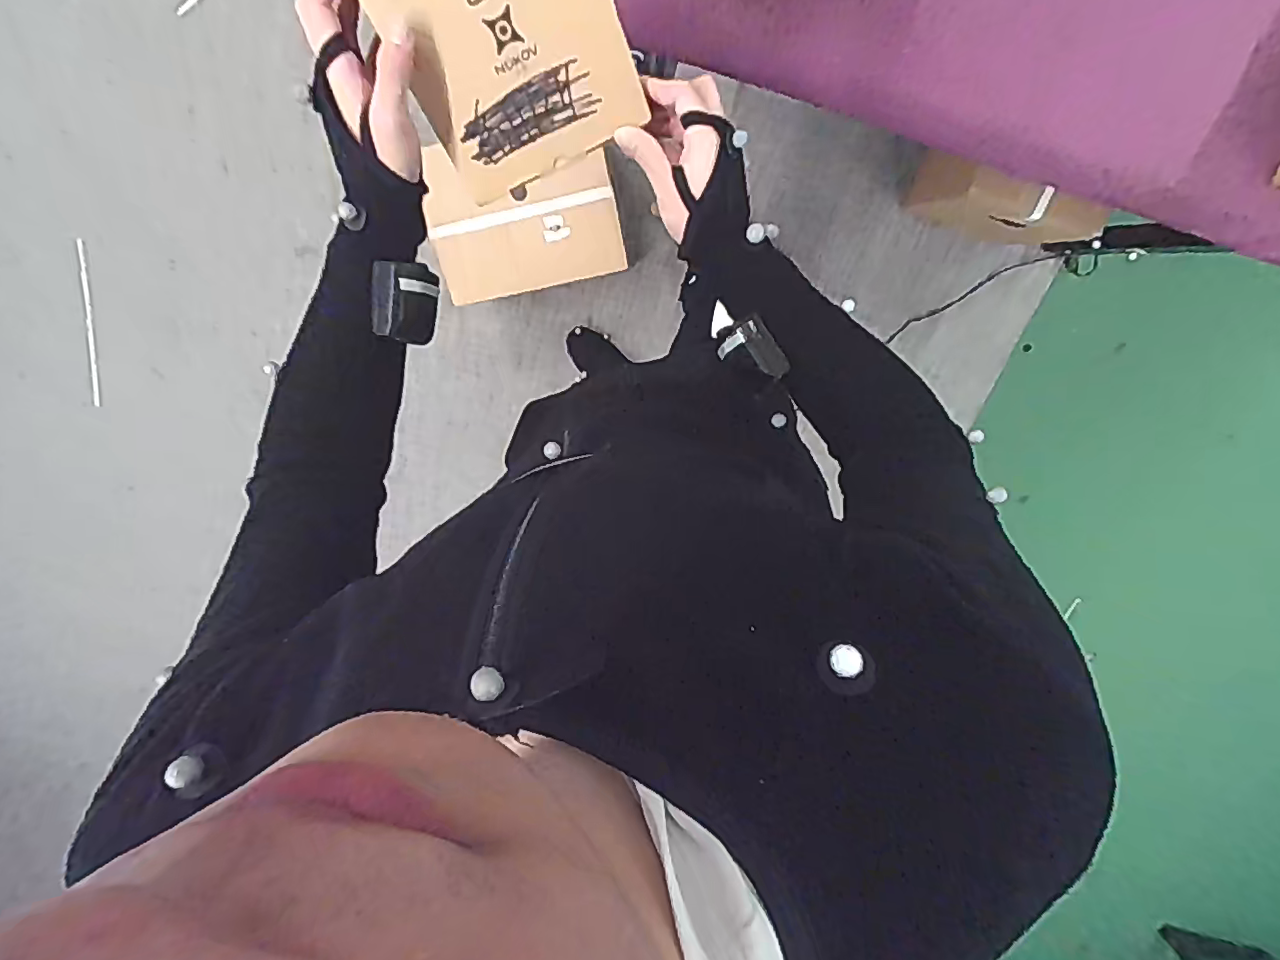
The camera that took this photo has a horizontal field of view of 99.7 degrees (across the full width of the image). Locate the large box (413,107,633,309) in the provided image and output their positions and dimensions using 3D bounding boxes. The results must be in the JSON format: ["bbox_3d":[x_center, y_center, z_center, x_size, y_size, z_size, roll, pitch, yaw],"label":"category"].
[{"bbox_3d":[-0.243,-0.613,1.277,0.408,0.320,0.320,-11,112,4],"label":"large box"}]
